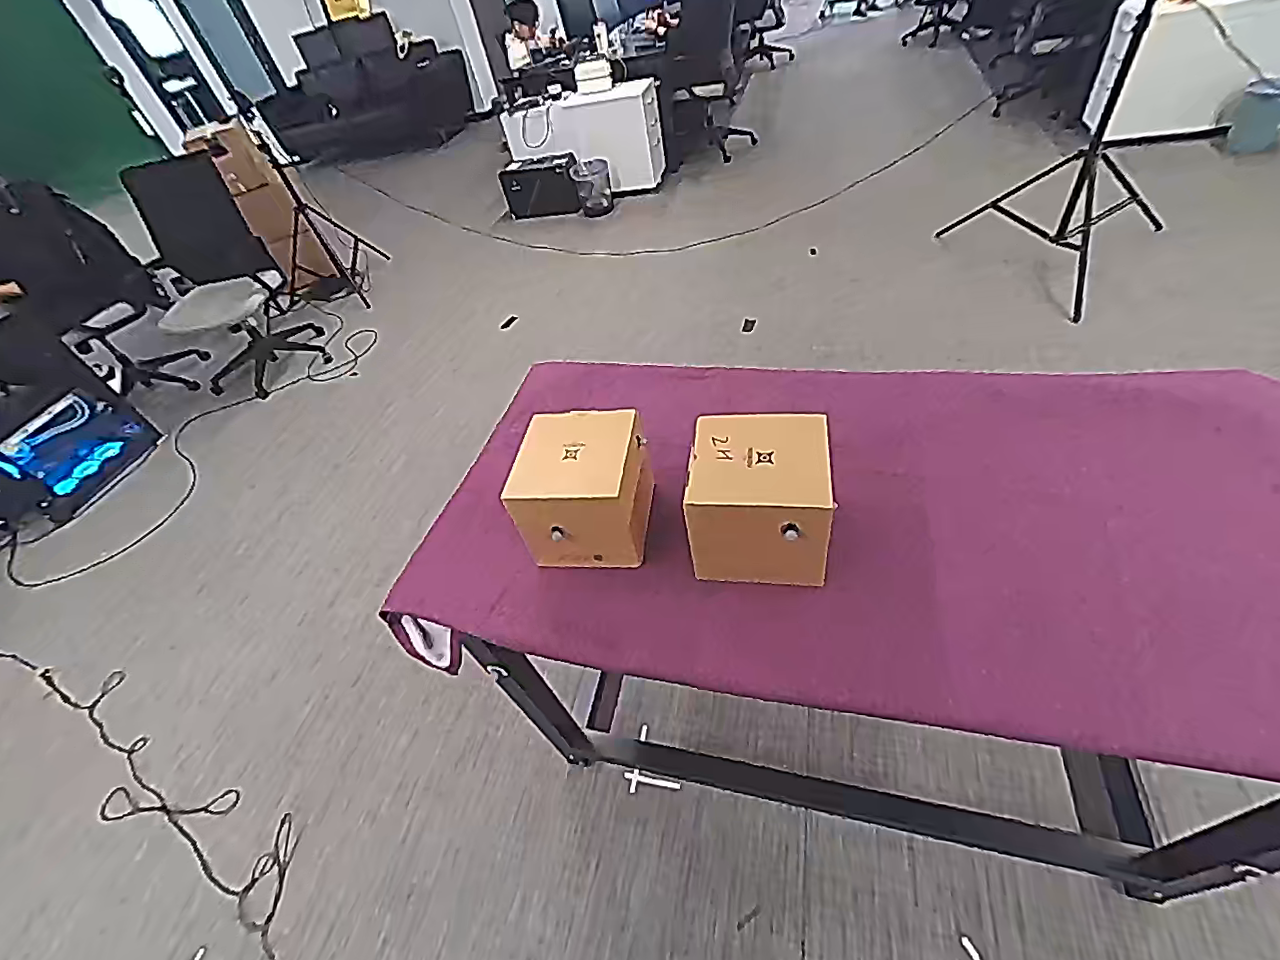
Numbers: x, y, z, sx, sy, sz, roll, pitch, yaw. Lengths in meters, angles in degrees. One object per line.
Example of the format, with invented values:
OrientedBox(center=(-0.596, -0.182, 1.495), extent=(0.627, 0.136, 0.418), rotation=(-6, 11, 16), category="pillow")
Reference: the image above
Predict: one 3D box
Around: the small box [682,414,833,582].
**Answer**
OrientedBox(center=(0.162, 0.027, 0.745), extent=(0.179, 0.176, 0.168), rotation=(1, 46, 14), category="small box")

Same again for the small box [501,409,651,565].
OrientedBox(center=(-0.083, 0.016, 0.820), extent=(0.168, 0.176, 0.179), rotation=(-2, 46, 12), category="small box")
